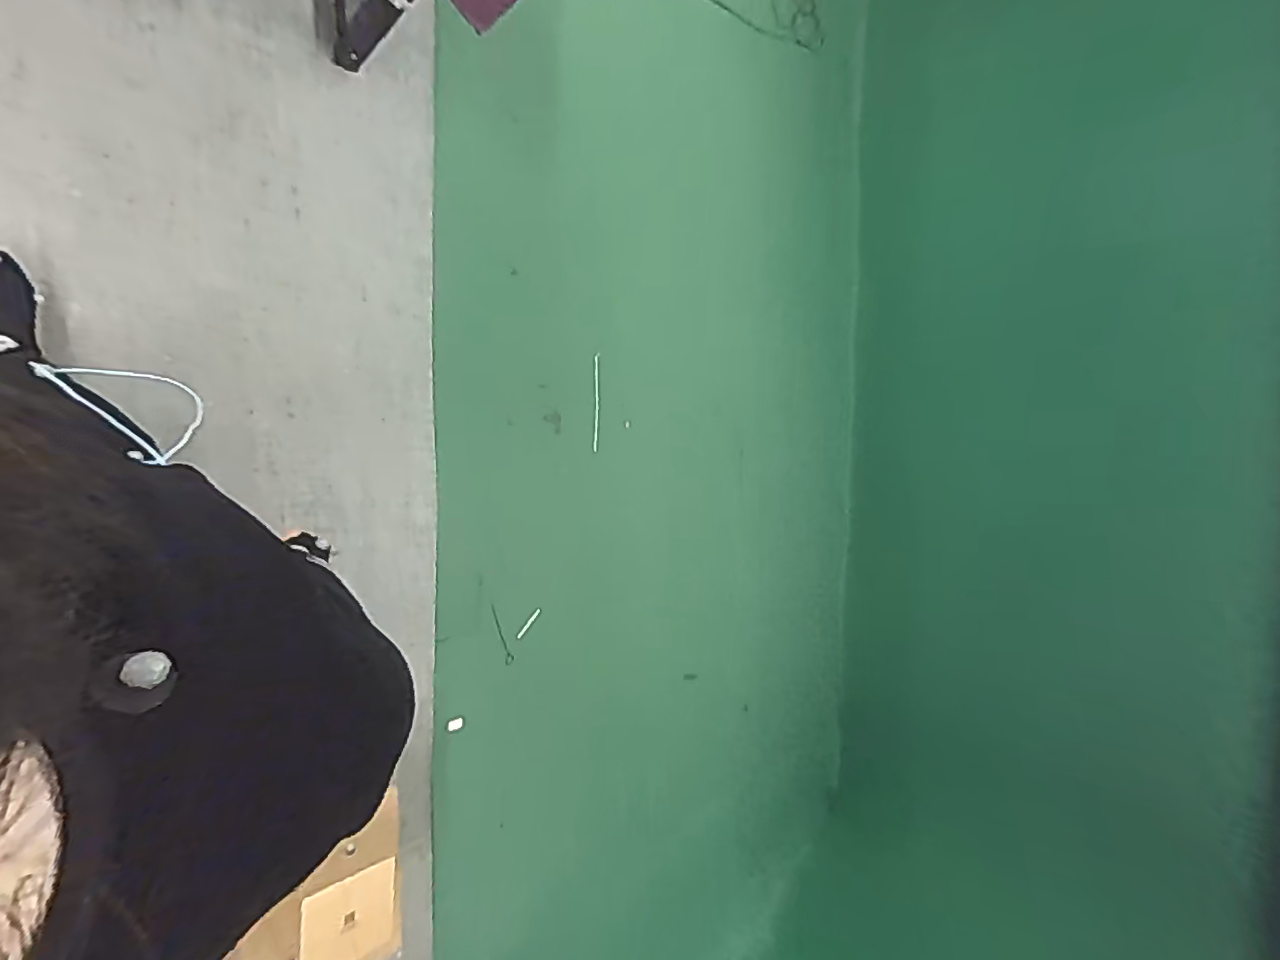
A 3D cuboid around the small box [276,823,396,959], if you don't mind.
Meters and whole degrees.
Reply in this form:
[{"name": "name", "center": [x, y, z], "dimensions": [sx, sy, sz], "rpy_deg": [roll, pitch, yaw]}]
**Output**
[{"name": "small box", "center": [-0.606, 0.823, 1.075], "dimensions": [0.168, 0.176, 0.179], "rpy_deg": [1, 93, -47]}]
